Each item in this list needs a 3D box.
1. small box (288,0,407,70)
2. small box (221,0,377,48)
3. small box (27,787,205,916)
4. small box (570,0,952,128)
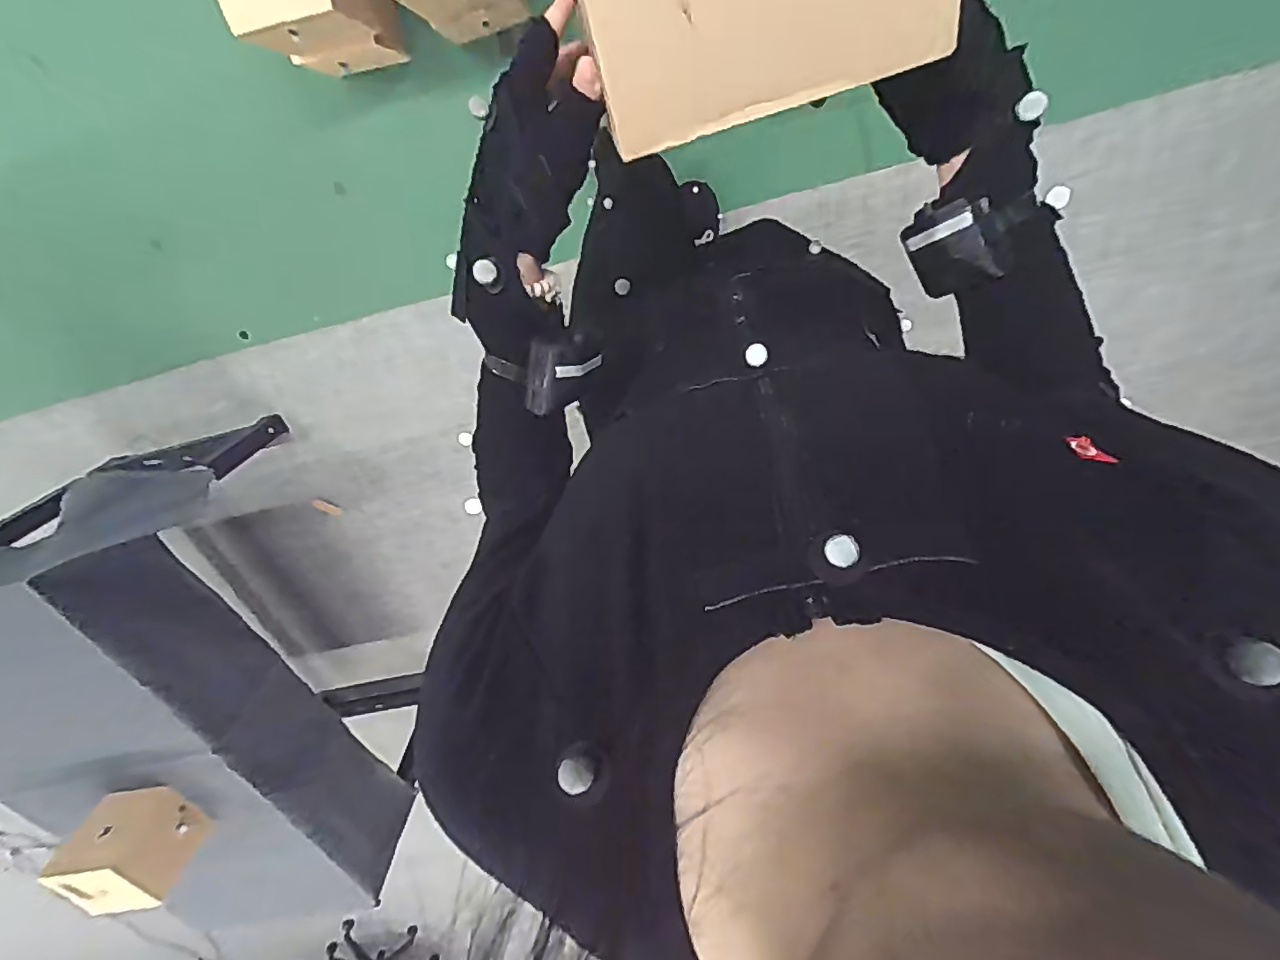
[{"bbox_3d":[-0.569,-0.896,1.016,0.168,0.176,0.179,-8,119,5],"label":"small box"},{"bbox_3d":[-0.564,-0.824,0.867,0.179,0.176,0.168,-9,120,6],"label":"small box"},{"bbox_3d":[-1.103,0.791,1.157,0.179,0.176,0.168,-12,119,7],"label":"small box"},{"bbox_3d":[0.042,-0.309,0.284,0.179,0.176,0.168,-14,127,4],"label":"small box"}]
